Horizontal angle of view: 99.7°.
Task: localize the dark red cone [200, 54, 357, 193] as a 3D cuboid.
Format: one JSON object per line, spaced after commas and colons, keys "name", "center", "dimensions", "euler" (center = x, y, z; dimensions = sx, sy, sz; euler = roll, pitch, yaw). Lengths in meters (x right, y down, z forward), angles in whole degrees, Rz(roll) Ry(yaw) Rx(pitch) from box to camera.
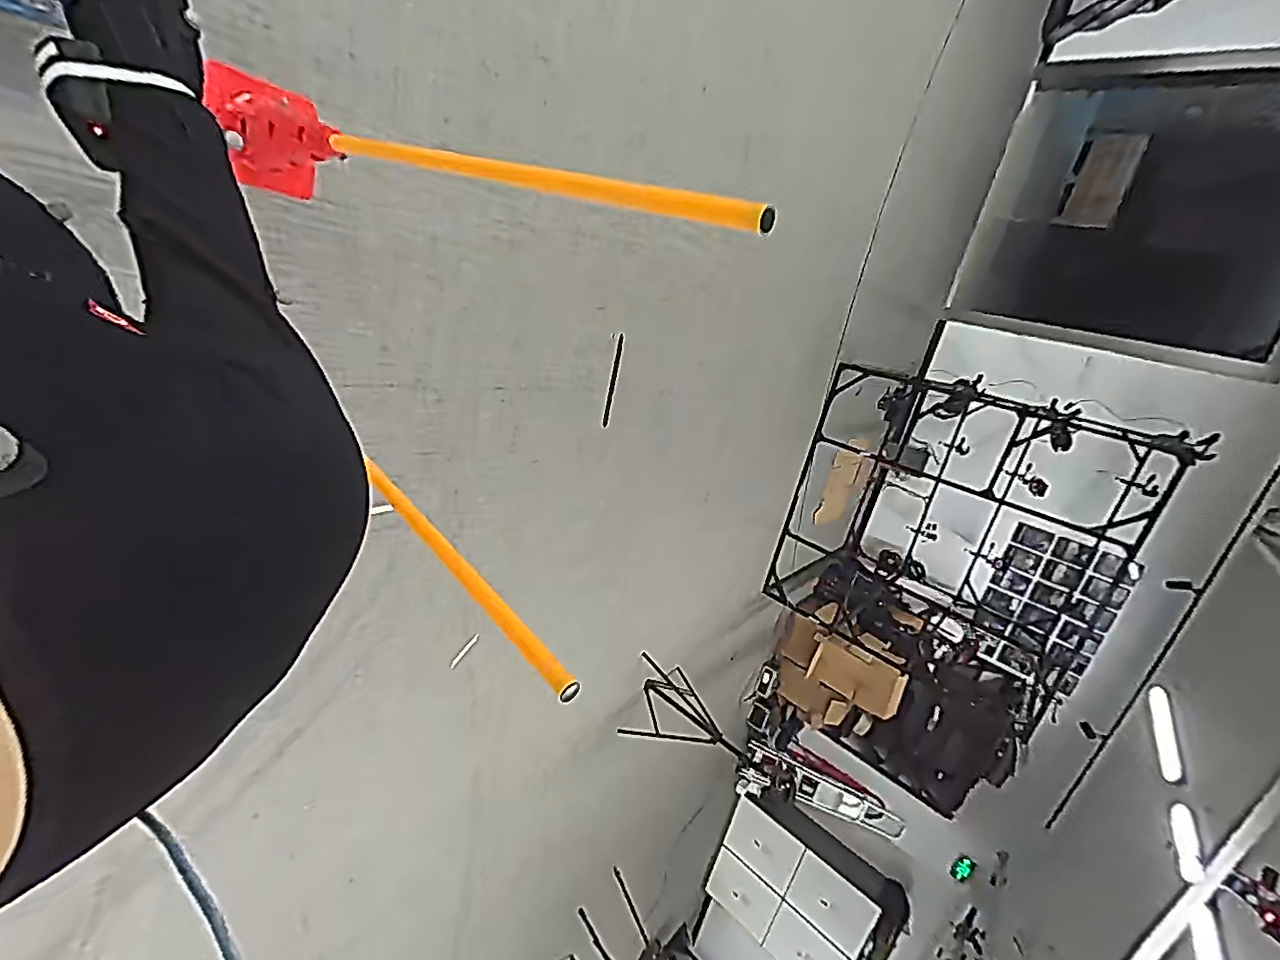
{"name": "dark red cone", "center": [-0.644, -0.657, 1.012], "dimensions": [0.201, 0.394, 0.202], "euler": [-11, 121, -52]}
